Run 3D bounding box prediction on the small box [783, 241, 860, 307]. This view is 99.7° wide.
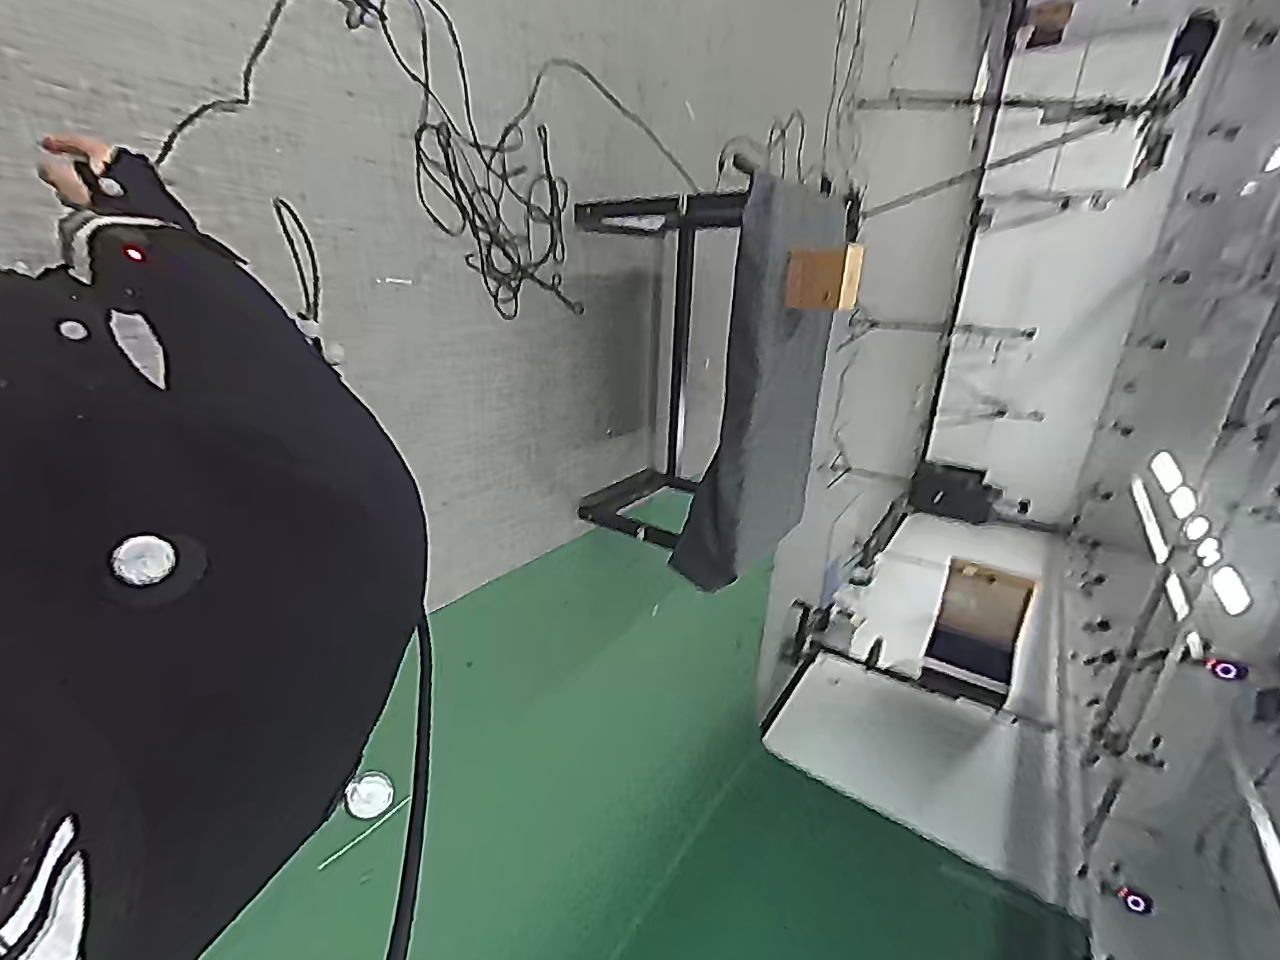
[{"bbox_3d":[0.541,-0.617,1.620,0.168,0.176,0.179,-28,126,-49],"label":"small box"}]
